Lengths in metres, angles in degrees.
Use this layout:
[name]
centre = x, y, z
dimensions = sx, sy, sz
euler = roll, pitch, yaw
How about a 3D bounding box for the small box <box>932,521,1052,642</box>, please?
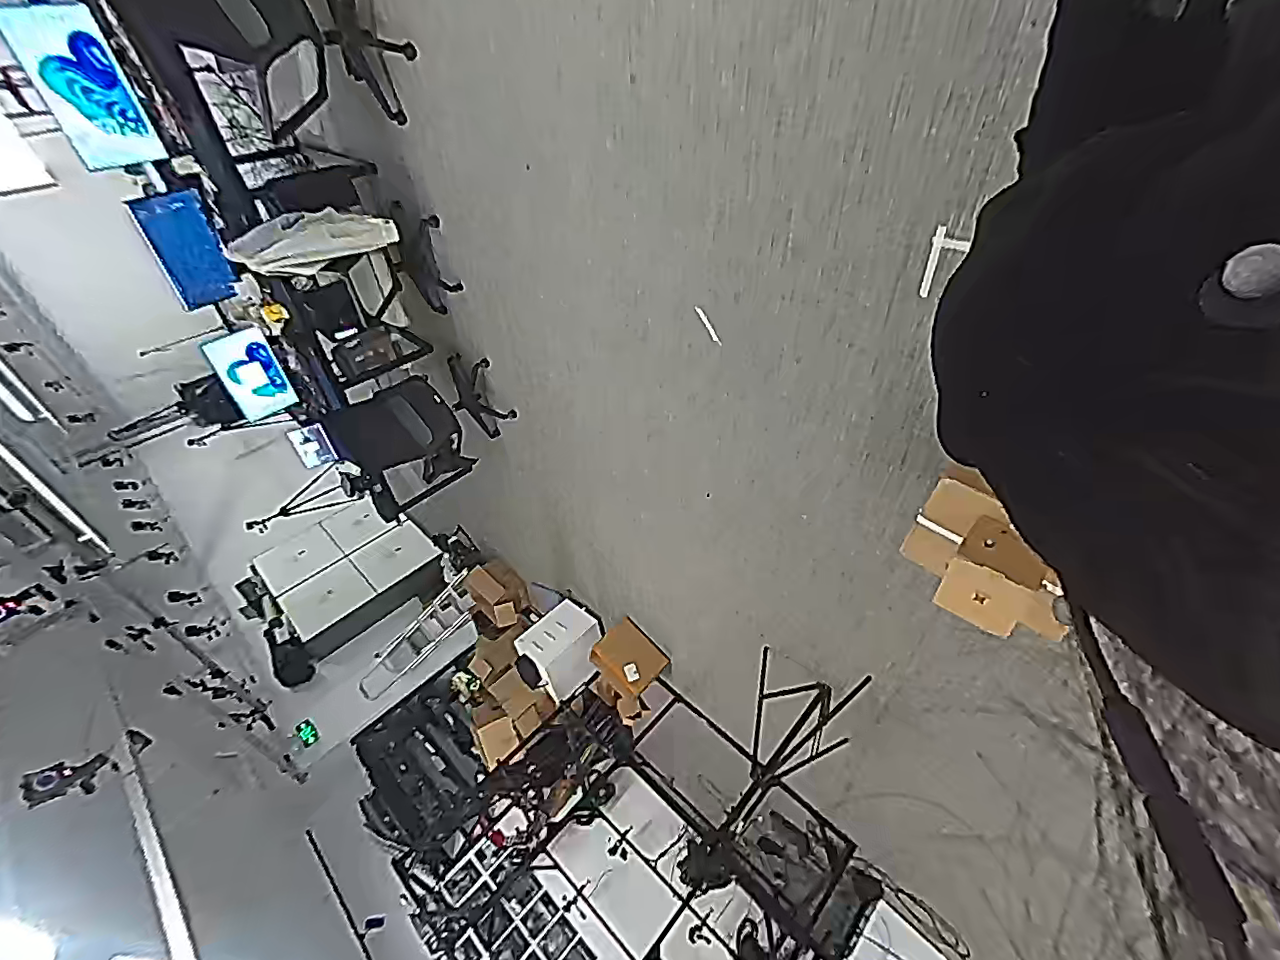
[small box]
centre = 0.811, 0.226, 1.245
dimensions = 0.168, 0.176, 0.179
euler = 30, 142, 35
